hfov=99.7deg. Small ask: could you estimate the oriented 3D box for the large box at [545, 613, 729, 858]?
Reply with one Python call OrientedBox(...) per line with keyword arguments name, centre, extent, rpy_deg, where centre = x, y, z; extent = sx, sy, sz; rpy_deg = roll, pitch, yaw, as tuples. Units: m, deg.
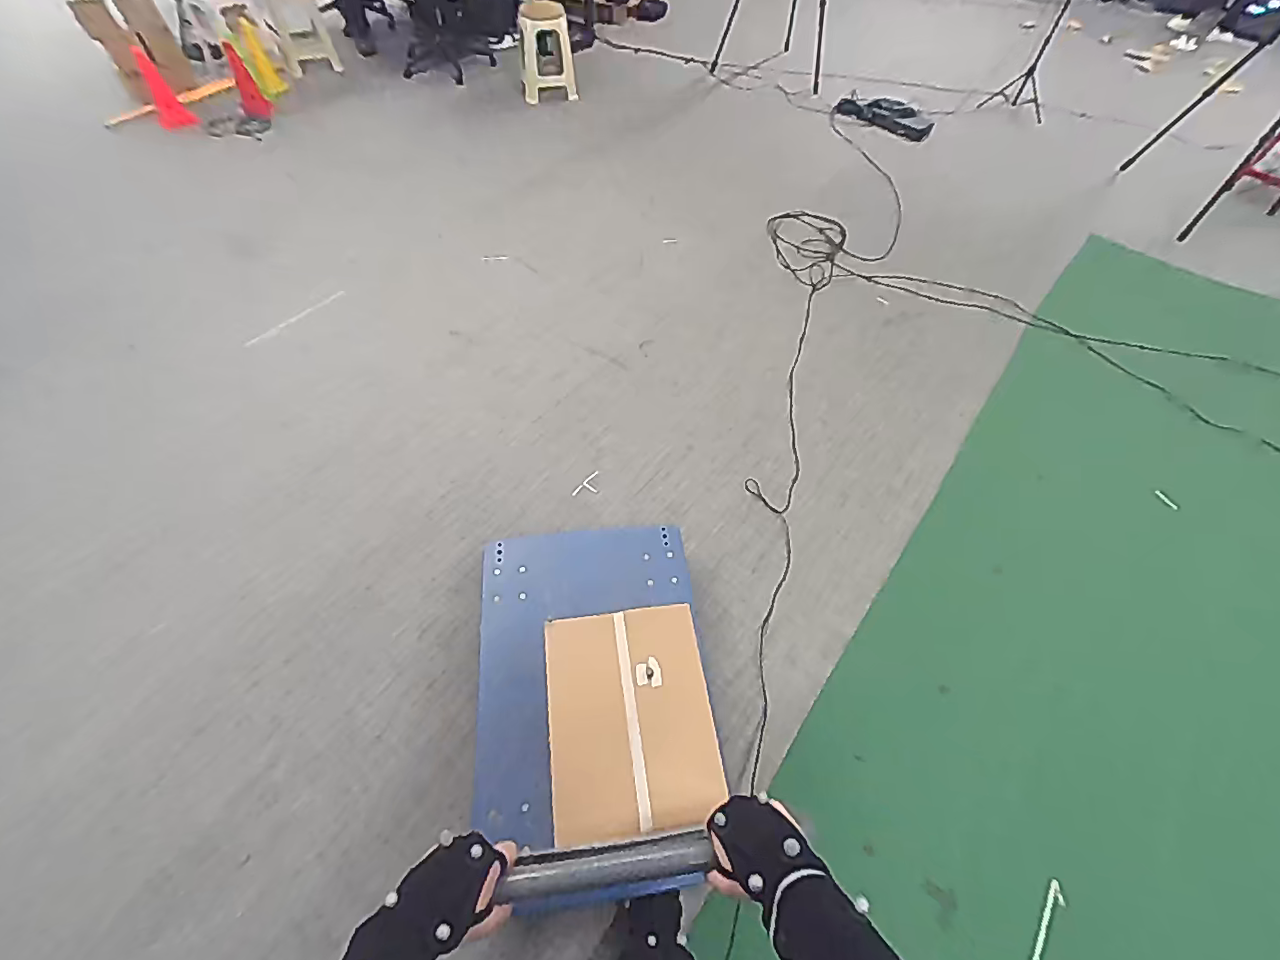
OrientedBox(name="large box", centre=(-0.026, 0.553, 1.177), extent=(0.320, 0.320, 0.408), rpy_deg=(-5, 55, -8))
